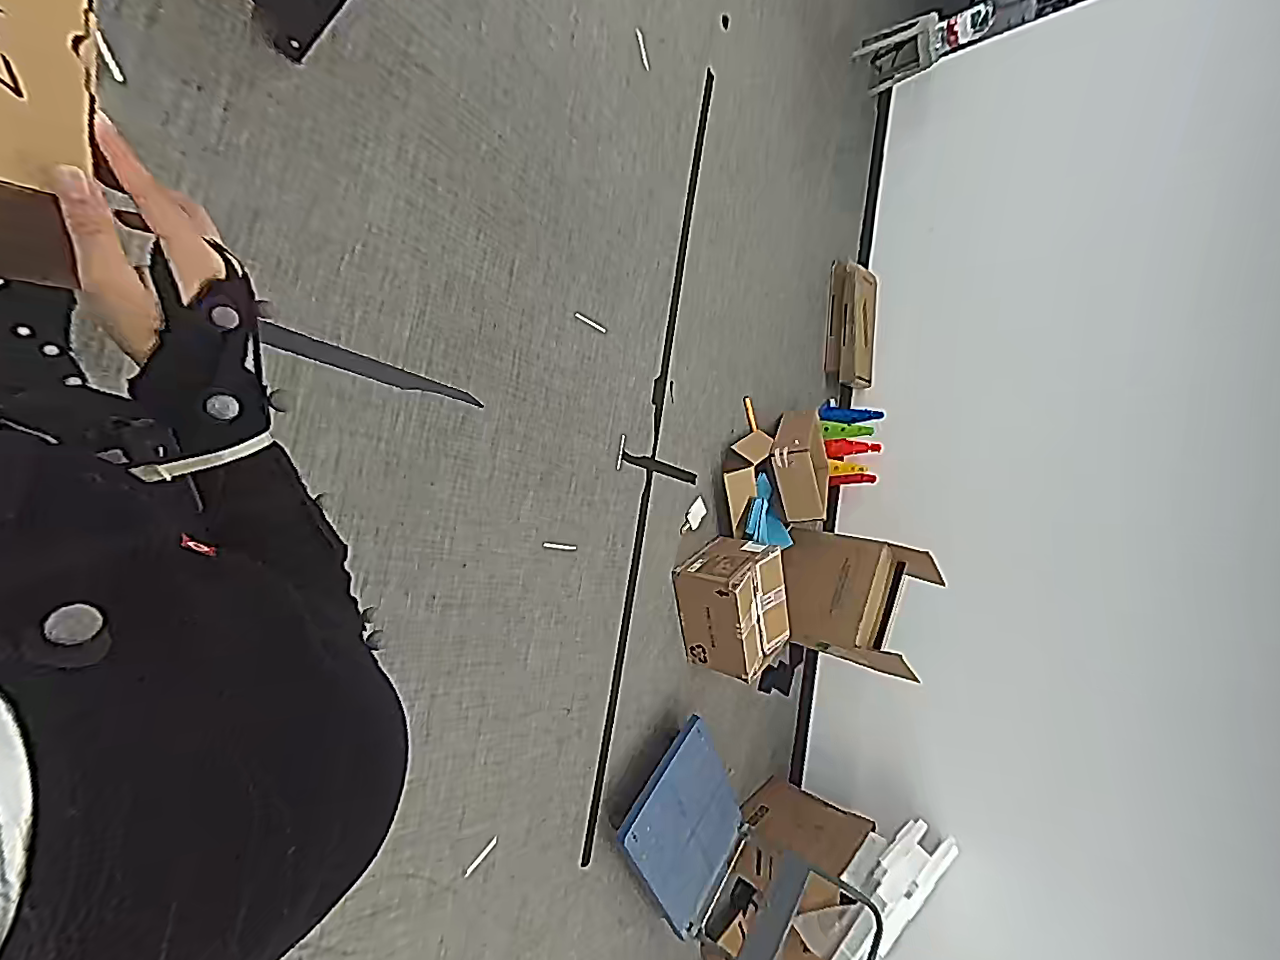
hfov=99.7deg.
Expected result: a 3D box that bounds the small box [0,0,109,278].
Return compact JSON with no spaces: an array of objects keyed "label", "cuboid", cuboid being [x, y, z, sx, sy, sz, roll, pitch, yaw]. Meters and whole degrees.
[{"label":"small box","cuboid":[-0.400,-0.222,0.278,0.179,0.176,0.168,0,89,-48]}]
